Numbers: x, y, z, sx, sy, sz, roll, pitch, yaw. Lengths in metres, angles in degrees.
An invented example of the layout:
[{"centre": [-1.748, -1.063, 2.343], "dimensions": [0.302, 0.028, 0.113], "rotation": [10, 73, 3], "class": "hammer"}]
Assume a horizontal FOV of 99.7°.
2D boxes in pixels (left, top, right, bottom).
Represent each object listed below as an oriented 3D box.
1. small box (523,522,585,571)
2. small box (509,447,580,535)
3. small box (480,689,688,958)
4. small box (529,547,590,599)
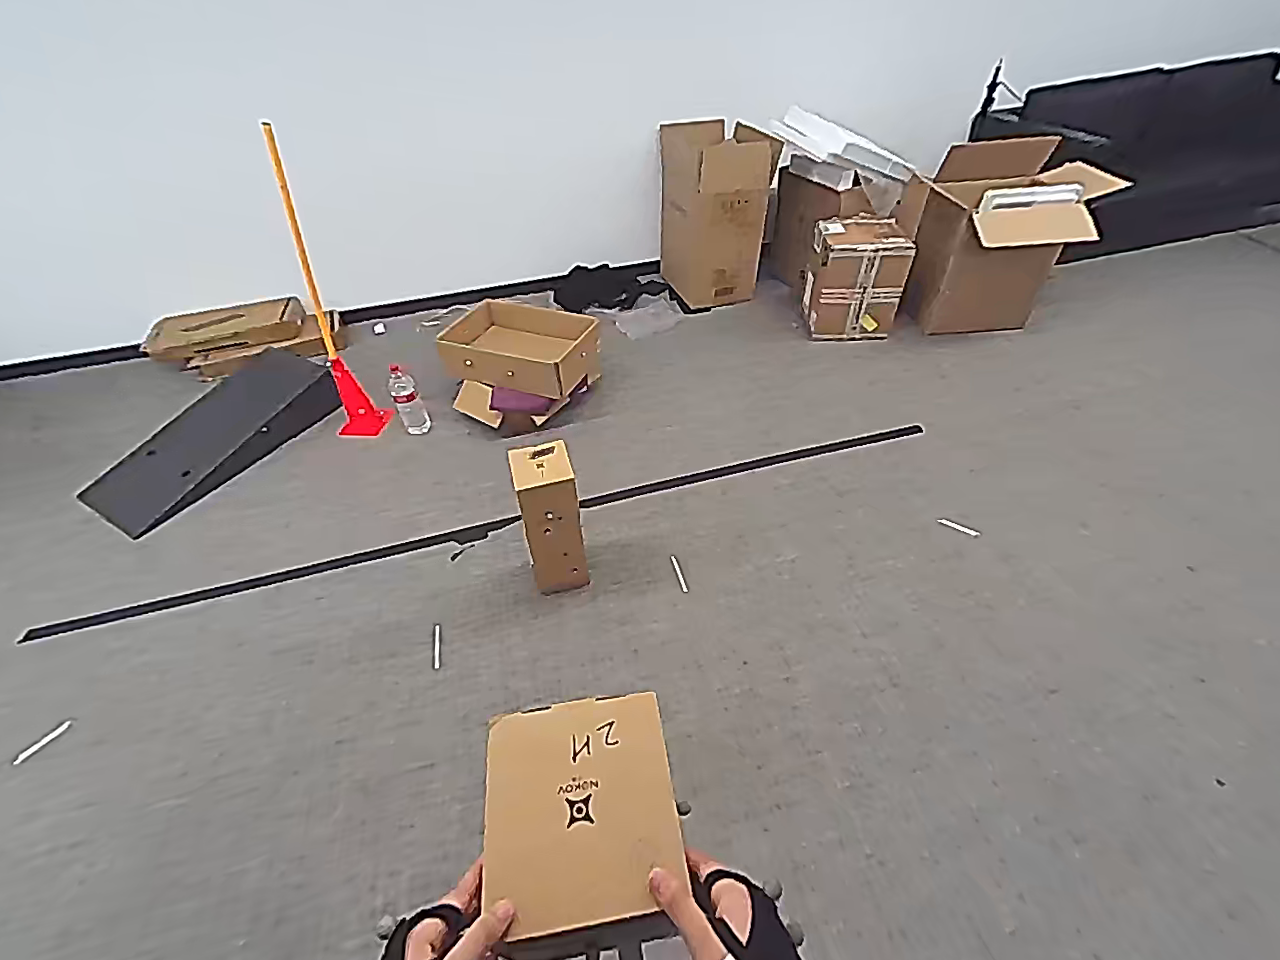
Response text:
[{"centre": [-0.274, 0.154, 1.695], "dimensions": [0.168, 0.176, 0.179], "rotation": [-14, 43, -10], "class": "small box"}, {"centre": [-0.278, 0.032, 1.583], "dimensions": [0.168, 0.176, 0.179], "rotation": [-14, 45, -10], "class": "small box"}, {"centre": [-0.049, 0.336, 0.526], "dimensions": [0.168, 0.176, 0.179], "rotation": [-8, 43, -5], "class": "small box"}, {"centre": [-0.268, 0.272, 1.808], "dimensions": [0.179, 0.176, 0.168], "rotation": [-14, 43, -8], "class": "small box"}]
